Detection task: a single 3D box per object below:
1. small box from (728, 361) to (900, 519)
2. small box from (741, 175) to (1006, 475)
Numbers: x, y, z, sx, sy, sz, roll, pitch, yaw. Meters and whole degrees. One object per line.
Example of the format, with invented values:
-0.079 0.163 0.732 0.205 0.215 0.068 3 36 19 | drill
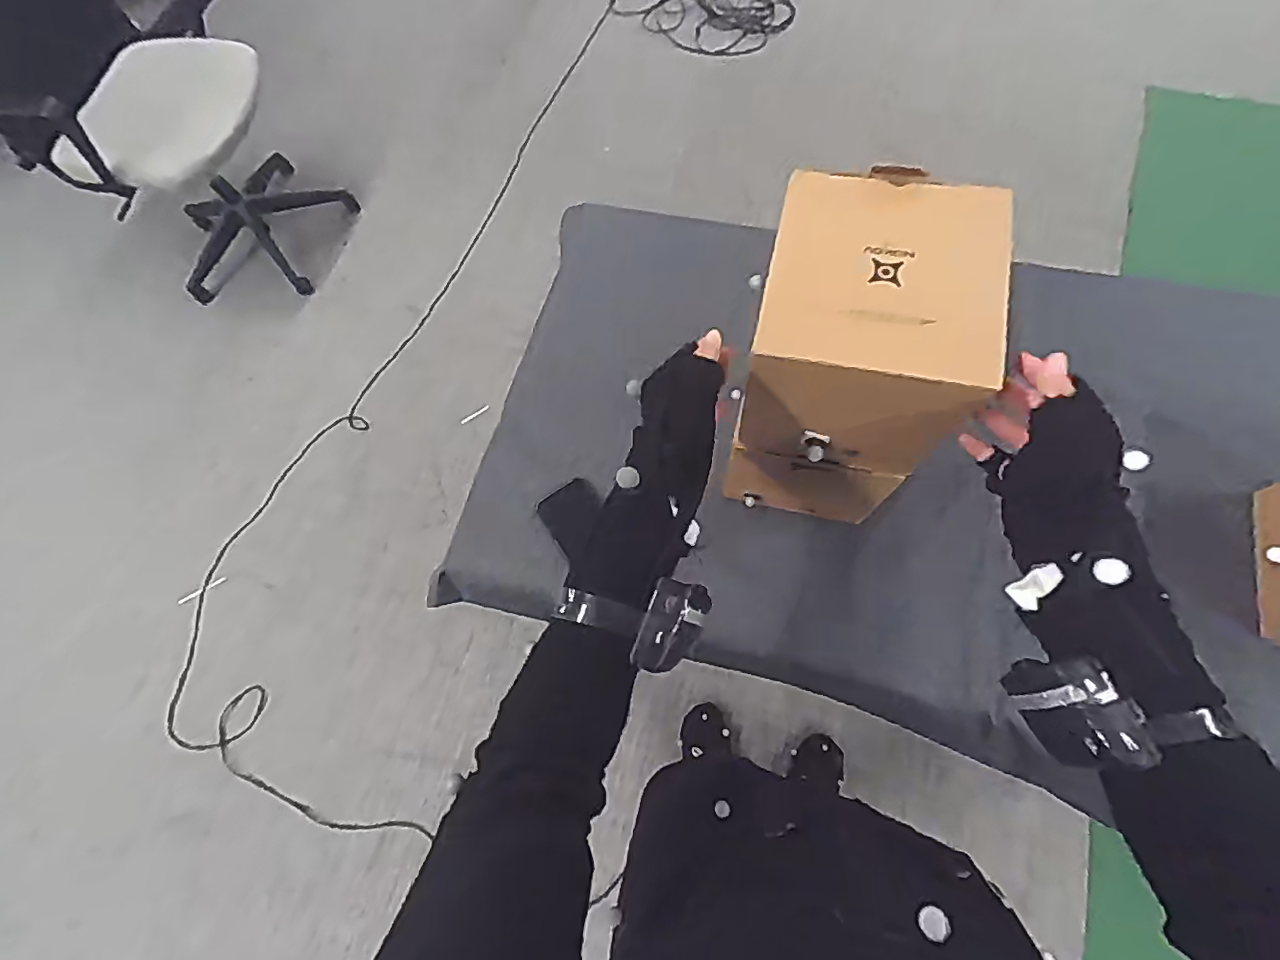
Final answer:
0.199 -0.068 0.626 0.168 0.176 0.179 12 71 10 | small box
0.187 -0.125 0.474 0.168 0.176 0.179 12 72 10 | small box
